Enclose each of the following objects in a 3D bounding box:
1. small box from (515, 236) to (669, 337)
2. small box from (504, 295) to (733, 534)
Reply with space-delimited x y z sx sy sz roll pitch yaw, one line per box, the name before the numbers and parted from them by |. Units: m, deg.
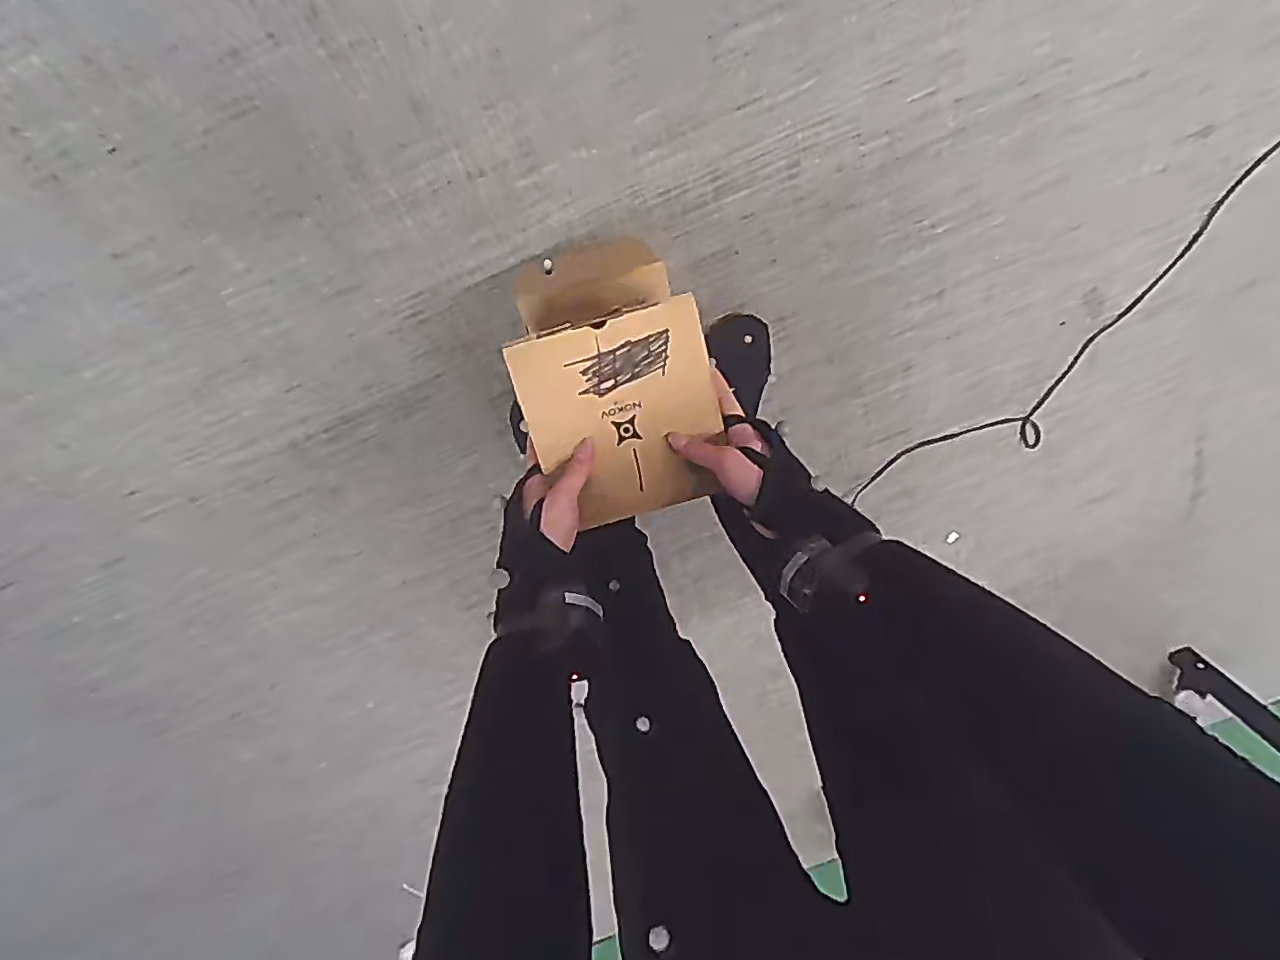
small box | -0.055 -0.205 0.716 0.179 0.176 0.168 -16 126 -2
small box | -0.022 -0.074 0.541 0.168 0.176 0.179 -16 108 0
